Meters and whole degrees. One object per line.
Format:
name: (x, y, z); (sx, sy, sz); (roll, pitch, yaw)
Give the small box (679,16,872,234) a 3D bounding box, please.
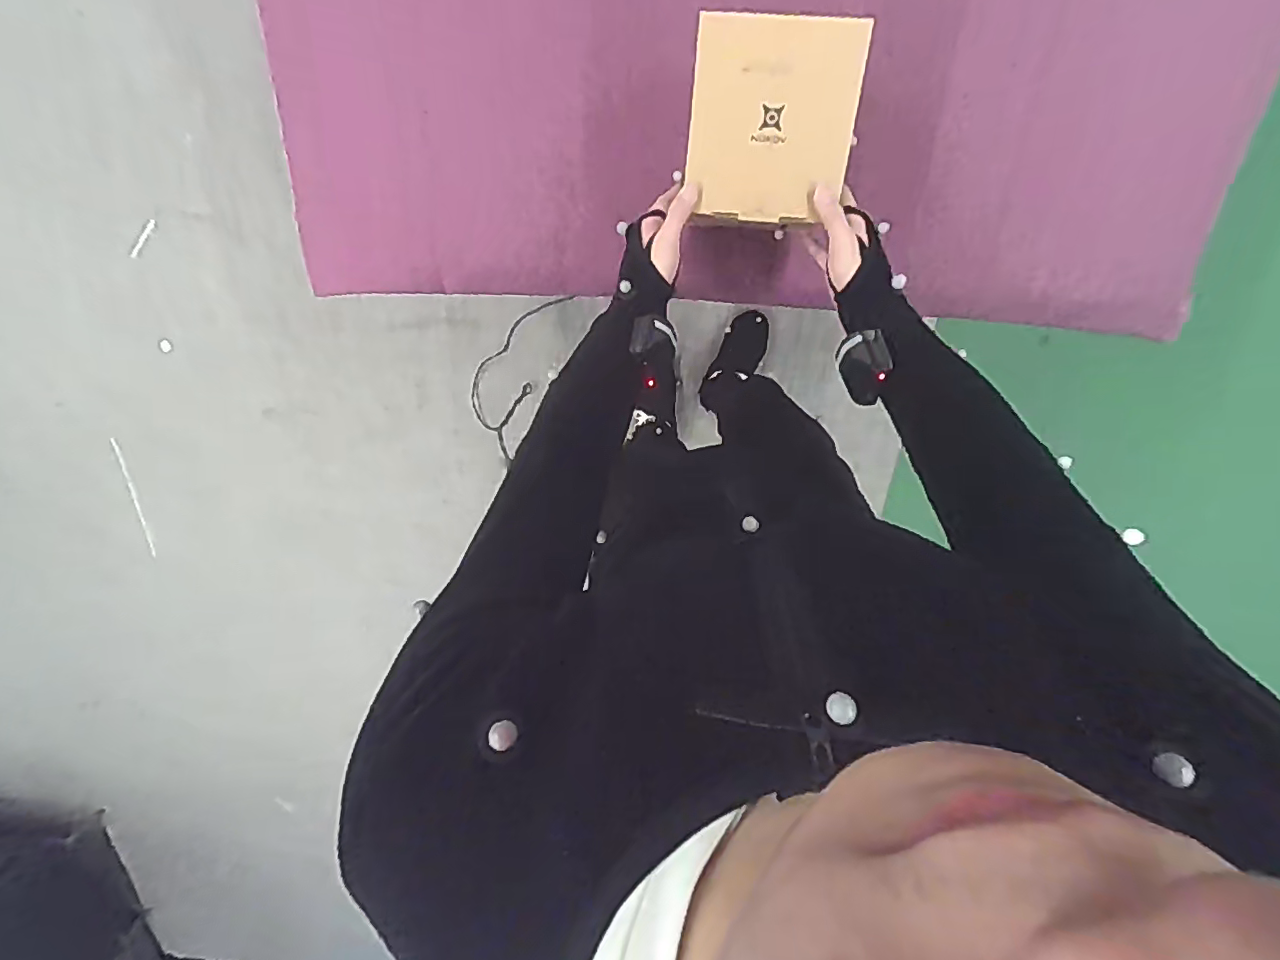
small box: (0.138, -0.382, 0.614); (0.168, 0.176, 0.179); (6, 112, 3)
